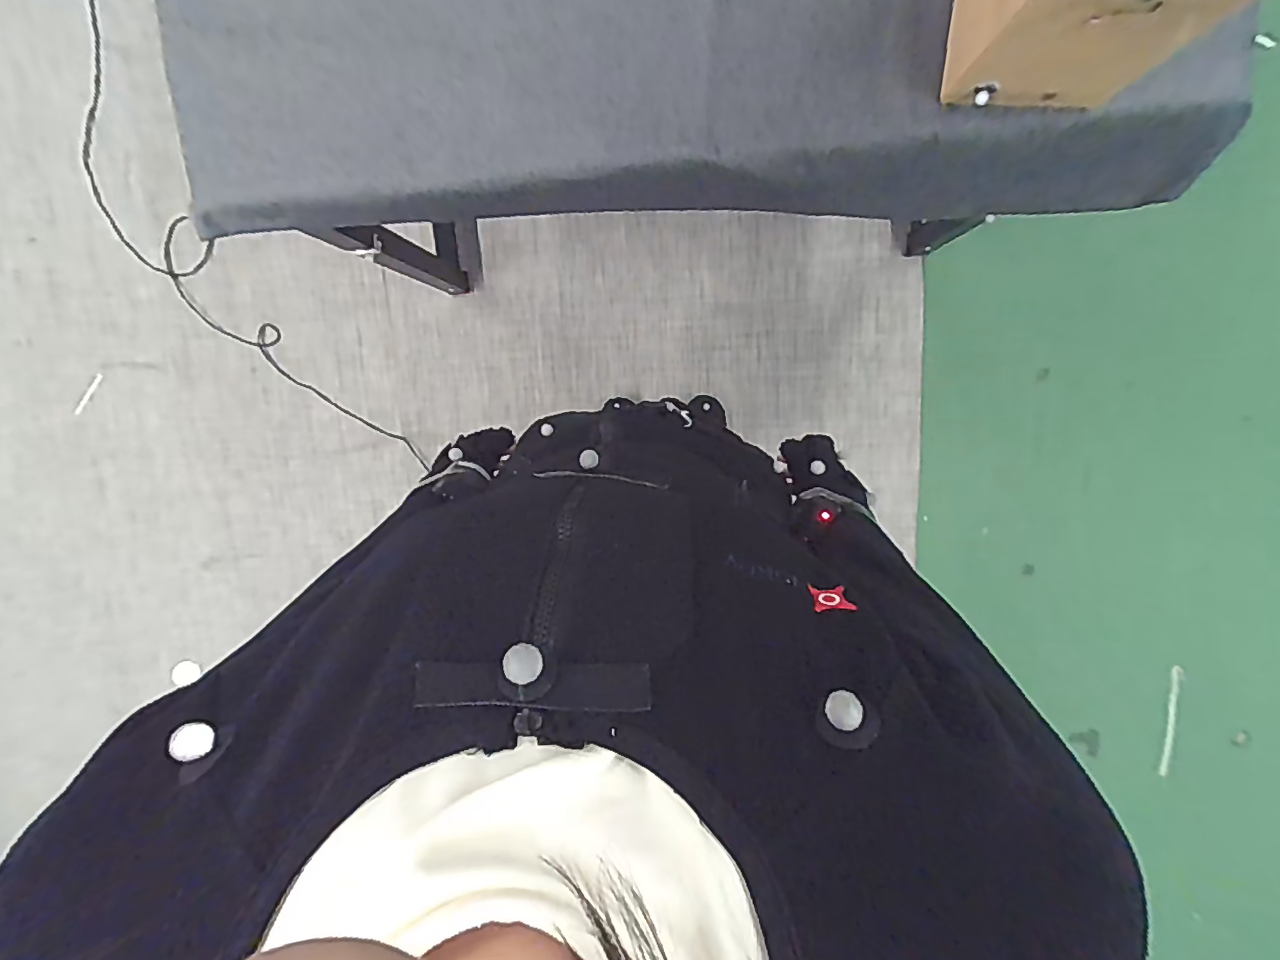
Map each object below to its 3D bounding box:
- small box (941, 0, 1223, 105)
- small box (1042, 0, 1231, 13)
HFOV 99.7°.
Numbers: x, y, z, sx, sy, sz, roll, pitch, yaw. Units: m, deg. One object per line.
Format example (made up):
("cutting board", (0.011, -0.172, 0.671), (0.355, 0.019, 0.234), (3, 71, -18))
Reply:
("small box", (0.411, -0.488, 0.507), (0.168, 0.176, 0.179), (5, 98, 4))
("small box", (0.396, -0.459, 0.349), (0.168, 0.176, 0.179), (6, 100, 5))
